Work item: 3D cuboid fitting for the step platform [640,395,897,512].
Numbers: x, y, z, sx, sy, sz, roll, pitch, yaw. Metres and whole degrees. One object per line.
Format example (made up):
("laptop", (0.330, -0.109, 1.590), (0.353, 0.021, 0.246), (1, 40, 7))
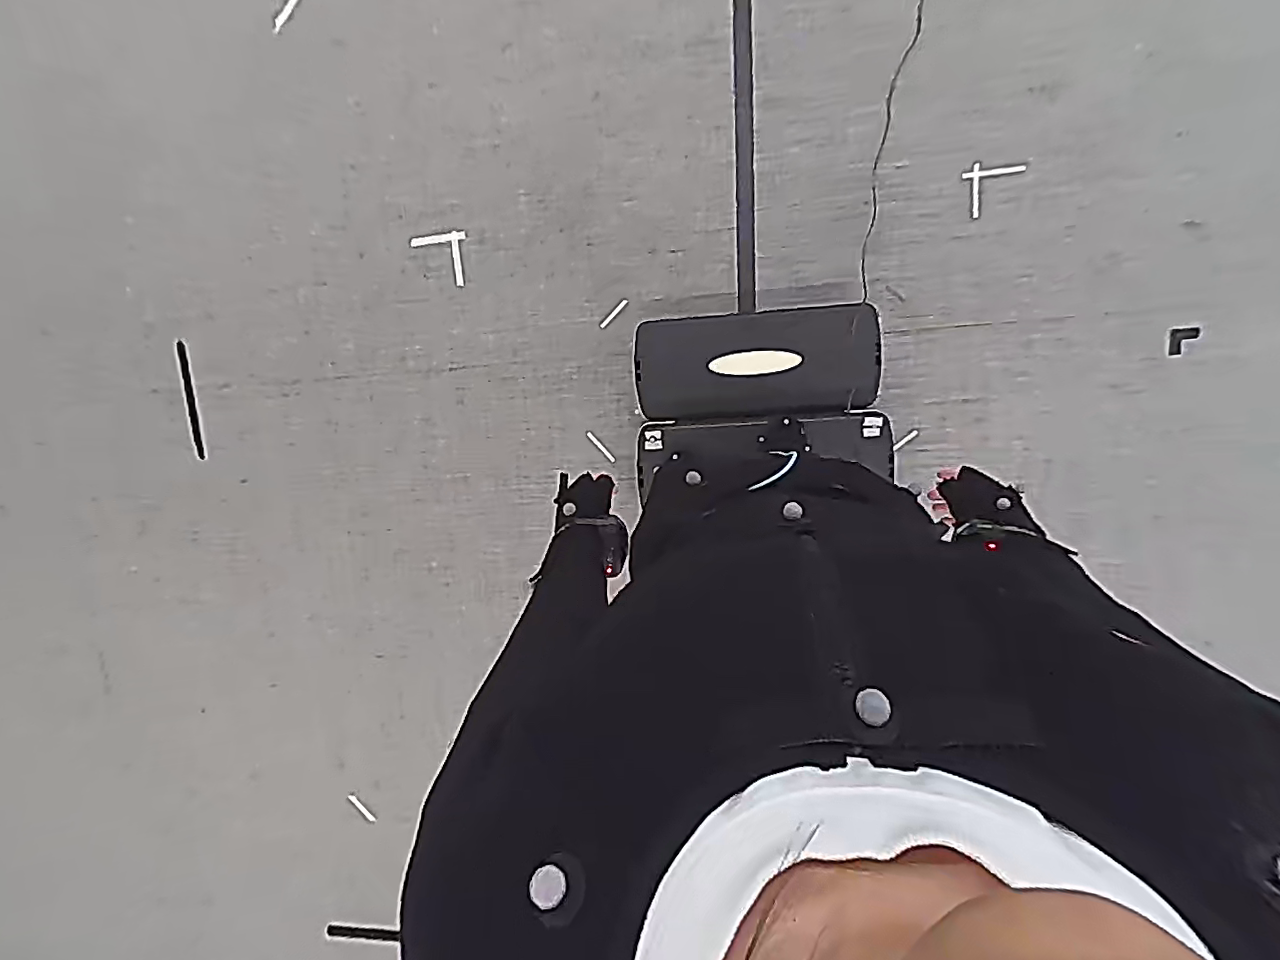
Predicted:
("step platform", (0.340, -0.070, 1.509), (0.684, 0.204, 0.286), (-3, 97, 9))
